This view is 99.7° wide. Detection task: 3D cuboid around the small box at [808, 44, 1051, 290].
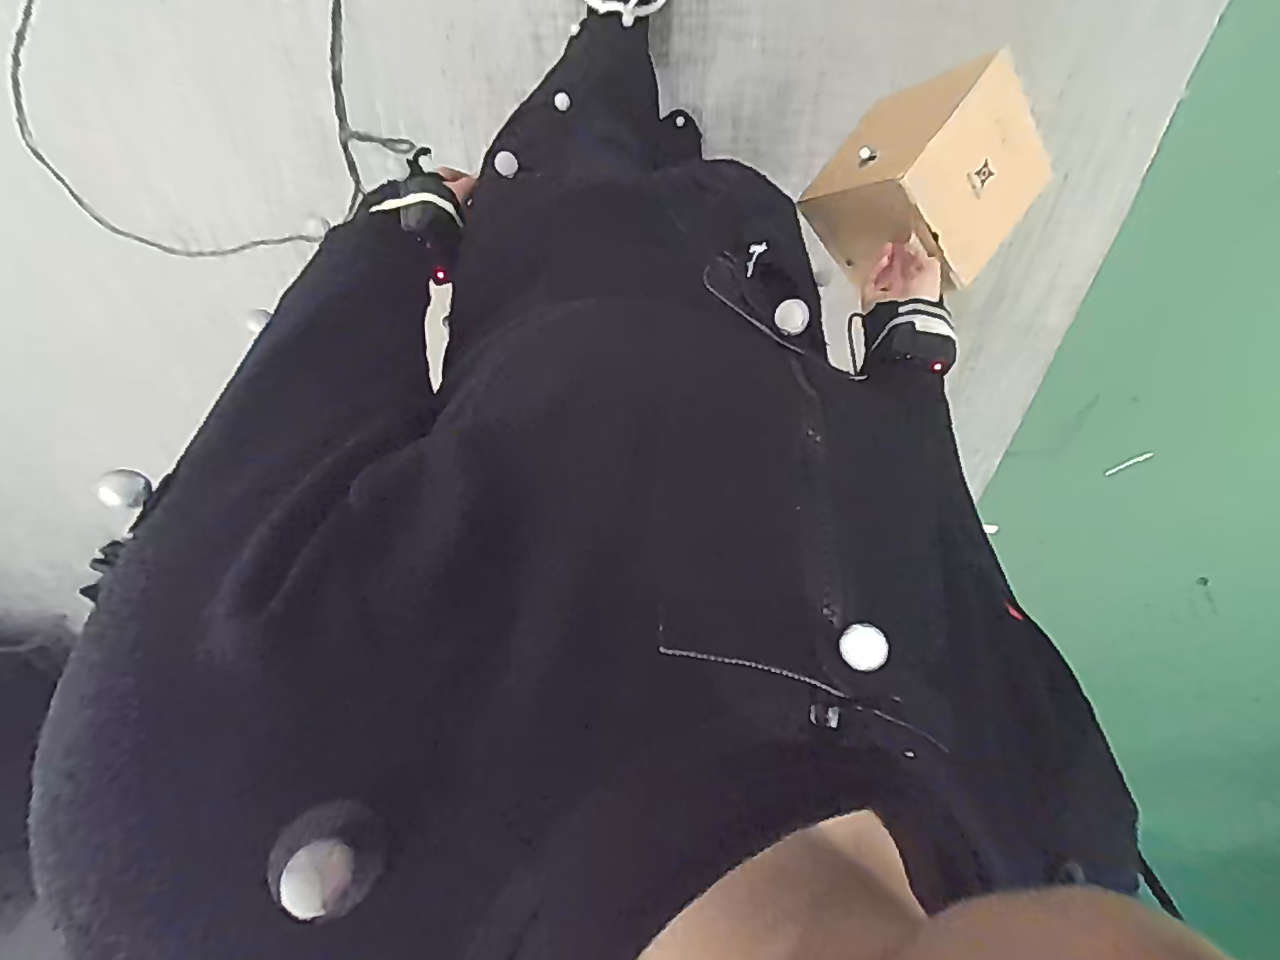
[{"bbox_3d":[0.329,-0.346,0.642,0.168,0.176,0.179,38,88,-31],"label":"small box"}]
